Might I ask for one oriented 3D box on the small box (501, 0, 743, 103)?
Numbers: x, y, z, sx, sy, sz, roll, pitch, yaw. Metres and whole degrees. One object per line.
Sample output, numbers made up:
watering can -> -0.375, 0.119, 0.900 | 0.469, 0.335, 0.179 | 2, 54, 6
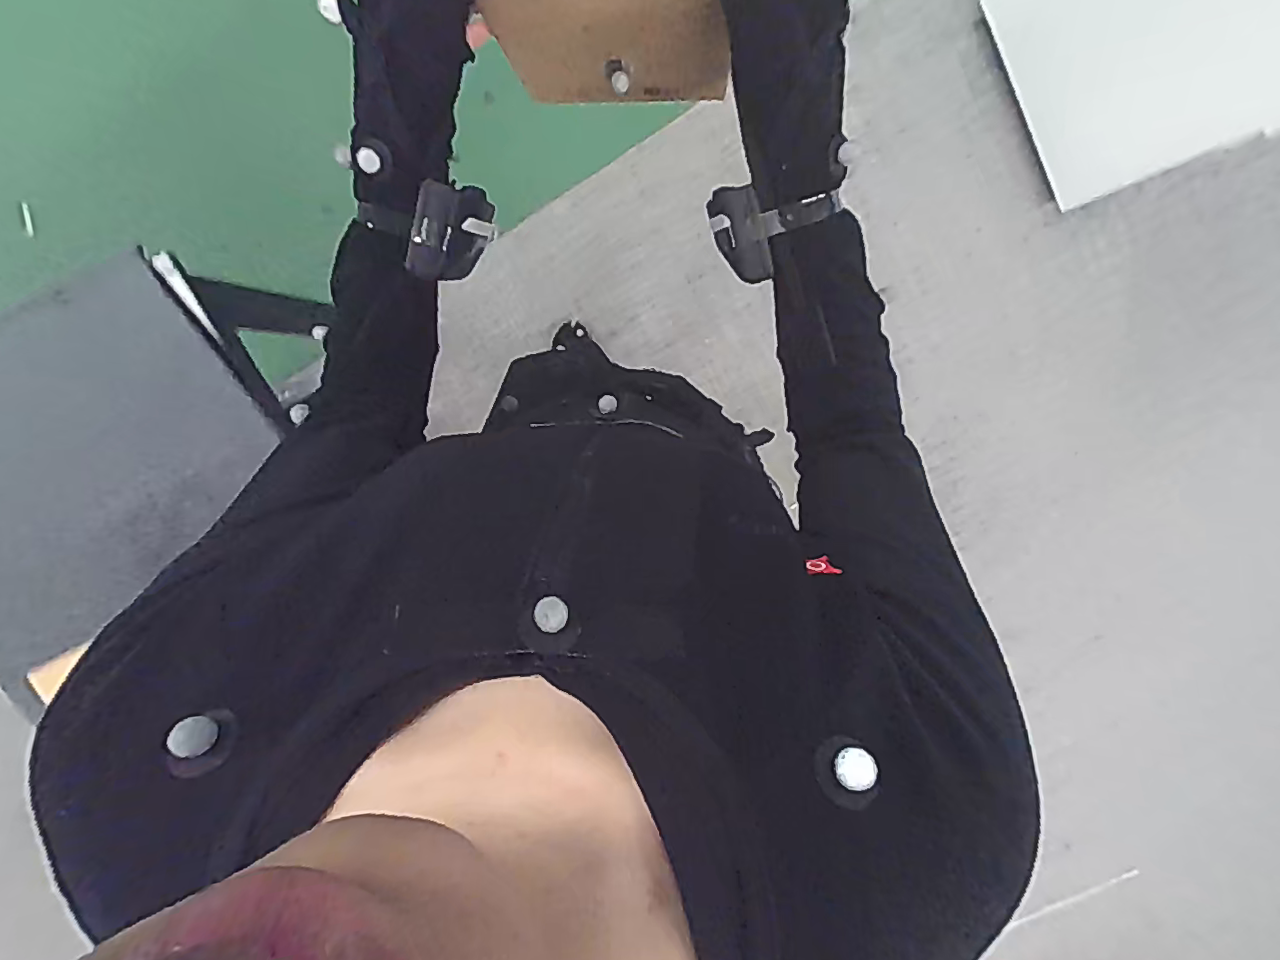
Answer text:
small box -> -0.010, -0.390, 0.360 | 0.168, 0.176, 0.179 | 3, 102, 5
